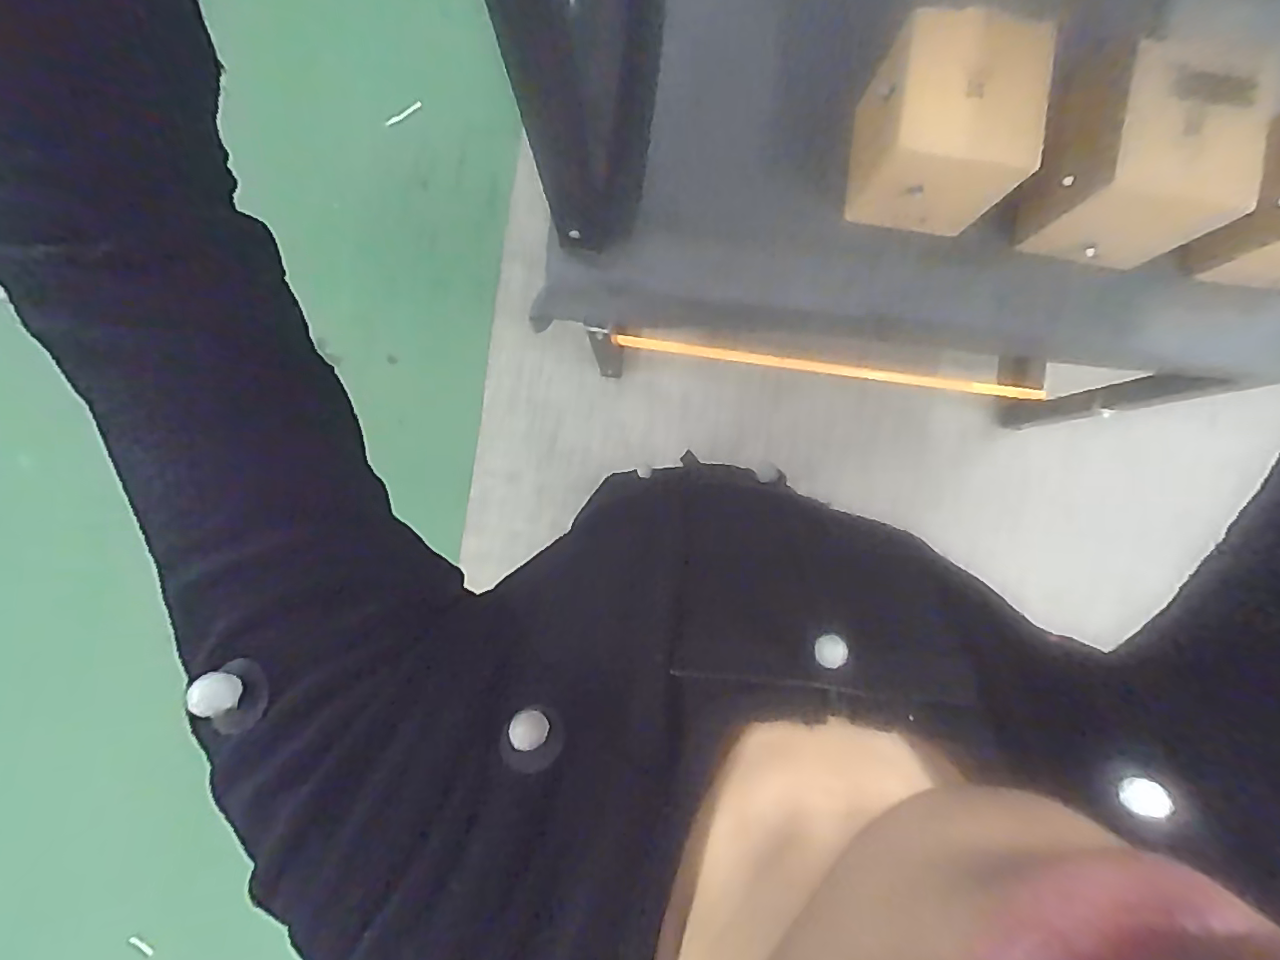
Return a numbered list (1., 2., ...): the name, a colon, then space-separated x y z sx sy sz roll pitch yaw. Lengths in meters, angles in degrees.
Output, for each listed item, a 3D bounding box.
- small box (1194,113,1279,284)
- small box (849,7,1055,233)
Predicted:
1. small box: 0.874 -0.368 0.692 0.168 0.176 0.179 7 87 0
2. small box: 0.387 -0.449 0.702 0.168 0.176 0.179 8 88 1
